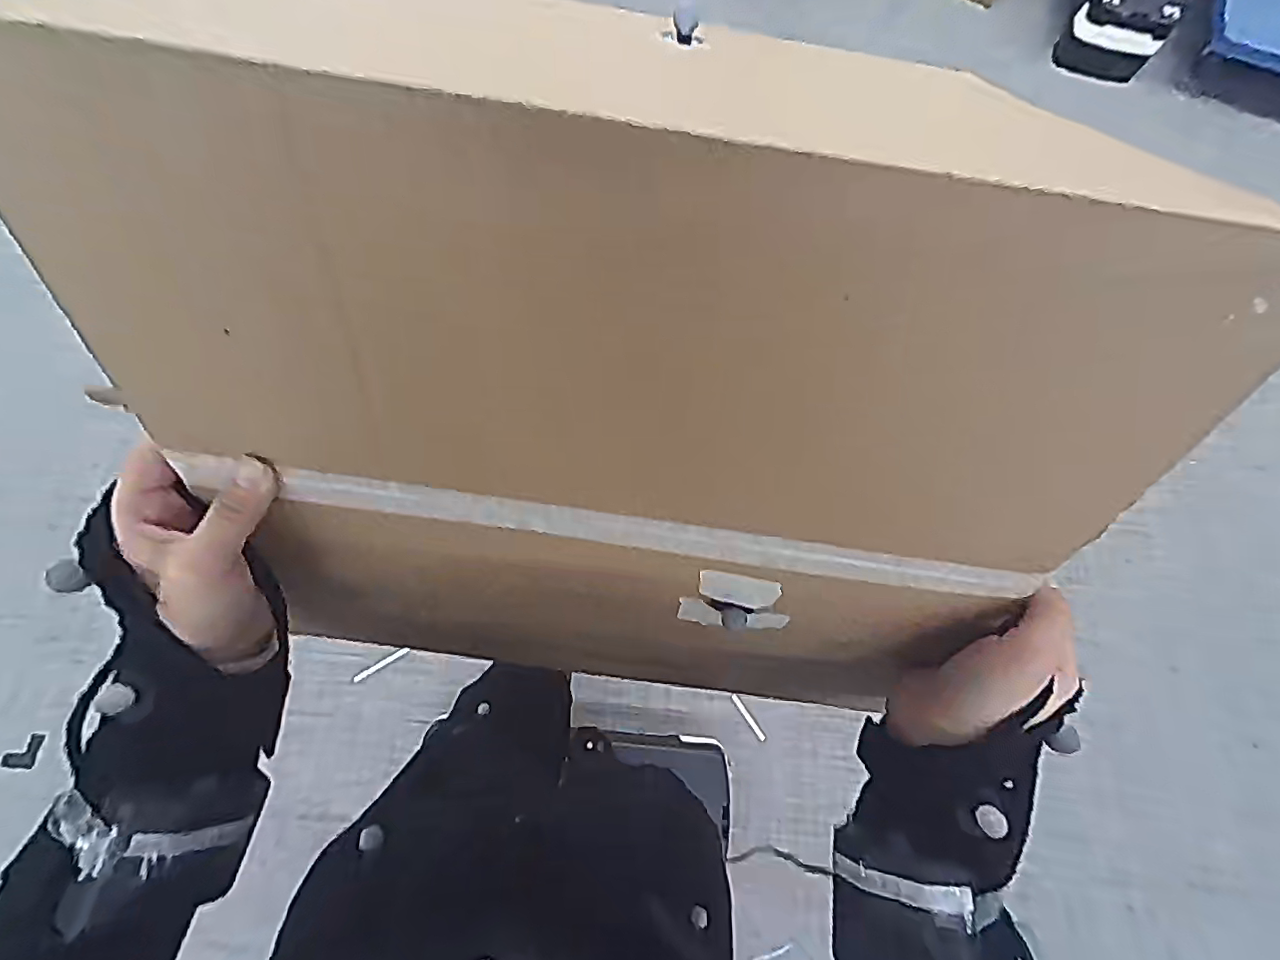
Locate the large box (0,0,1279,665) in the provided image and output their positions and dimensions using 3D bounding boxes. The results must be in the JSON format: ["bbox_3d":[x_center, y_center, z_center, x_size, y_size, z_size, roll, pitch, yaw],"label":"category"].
[{"bbox_3d":[0.011,-0.112,0.357,0.408,0.320,0.320,8,45,-2],"label":"large box"}]
